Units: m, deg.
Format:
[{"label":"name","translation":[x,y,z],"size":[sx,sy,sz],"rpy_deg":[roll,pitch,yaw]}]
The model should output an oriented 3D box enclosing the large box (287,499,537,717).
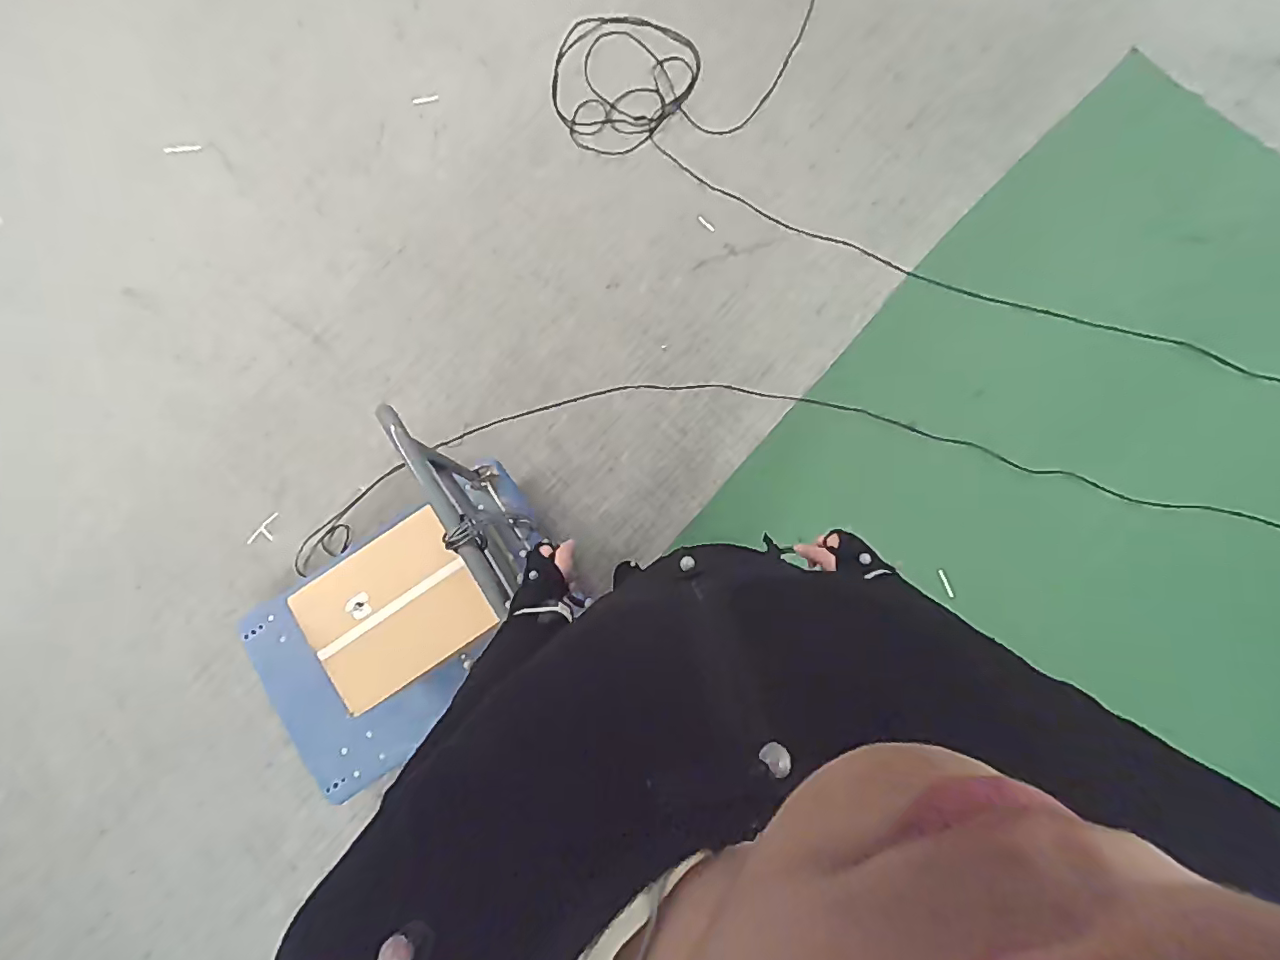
[{"label":"large box","translation":[-0.527,0.289,1.328],"size":[0.408,0.320,0.320],"rpy_deg":[-34,82,-1]}]
